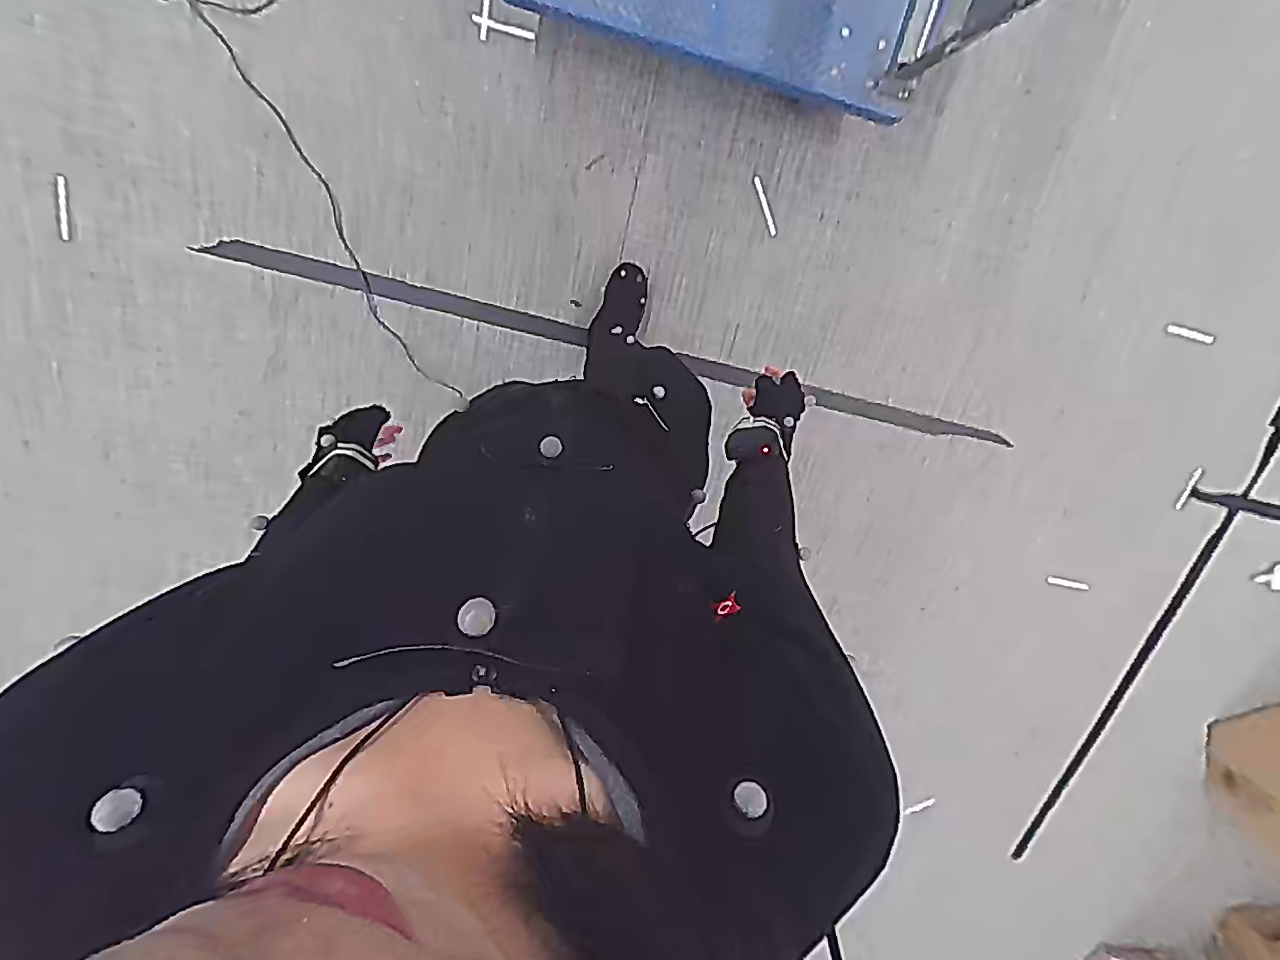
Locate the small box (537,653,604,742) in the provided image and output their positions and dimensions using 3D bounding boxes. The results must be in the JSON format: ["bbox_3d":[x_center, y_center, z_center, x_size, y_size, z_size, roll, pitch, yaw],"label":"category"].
[{"bbox_3d":[-0.211,0.672,1.683,0.168,0.176,0.179,15,108,-10],"label":"small box"}]

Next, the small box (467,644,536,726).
[{"bbox_3d":[-0.417,0.621,1.649,0.179,0.176,0.168,8,108,-6],"label":"small box"}]
